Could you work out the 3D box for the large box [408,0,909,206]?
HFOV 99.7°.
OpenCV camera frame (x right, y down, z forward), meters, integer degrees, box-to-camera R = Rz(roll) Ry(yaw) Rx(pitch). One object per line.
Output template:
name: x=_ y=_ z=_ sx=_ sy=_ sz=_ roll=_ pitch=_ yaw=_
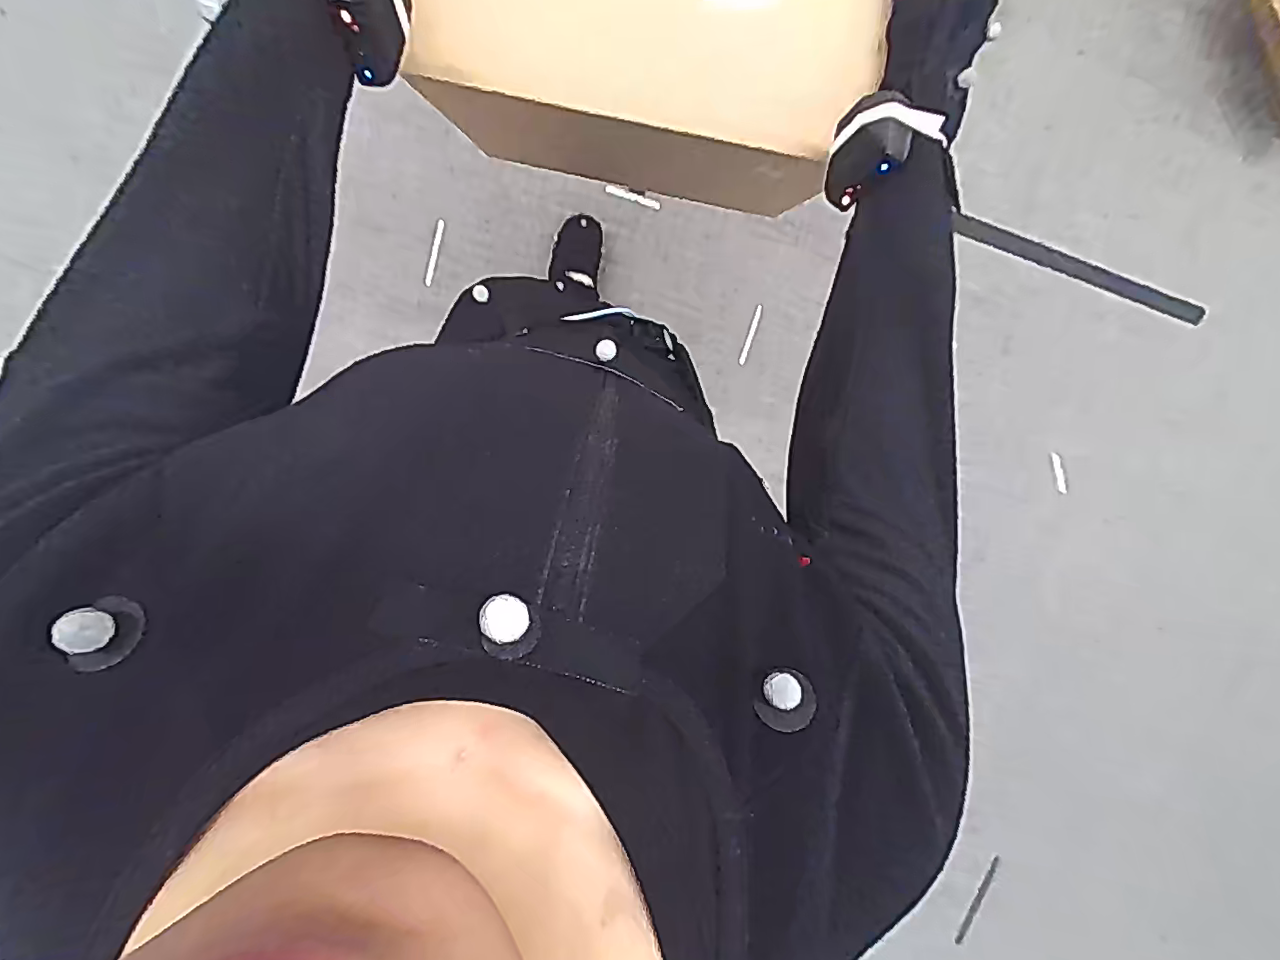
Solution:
large box: x=0.026 y=-0.503 z=0.549 sx=0.408 sy=0.320 sz=0.320 roll=10 pitch=110 yaw=-5
